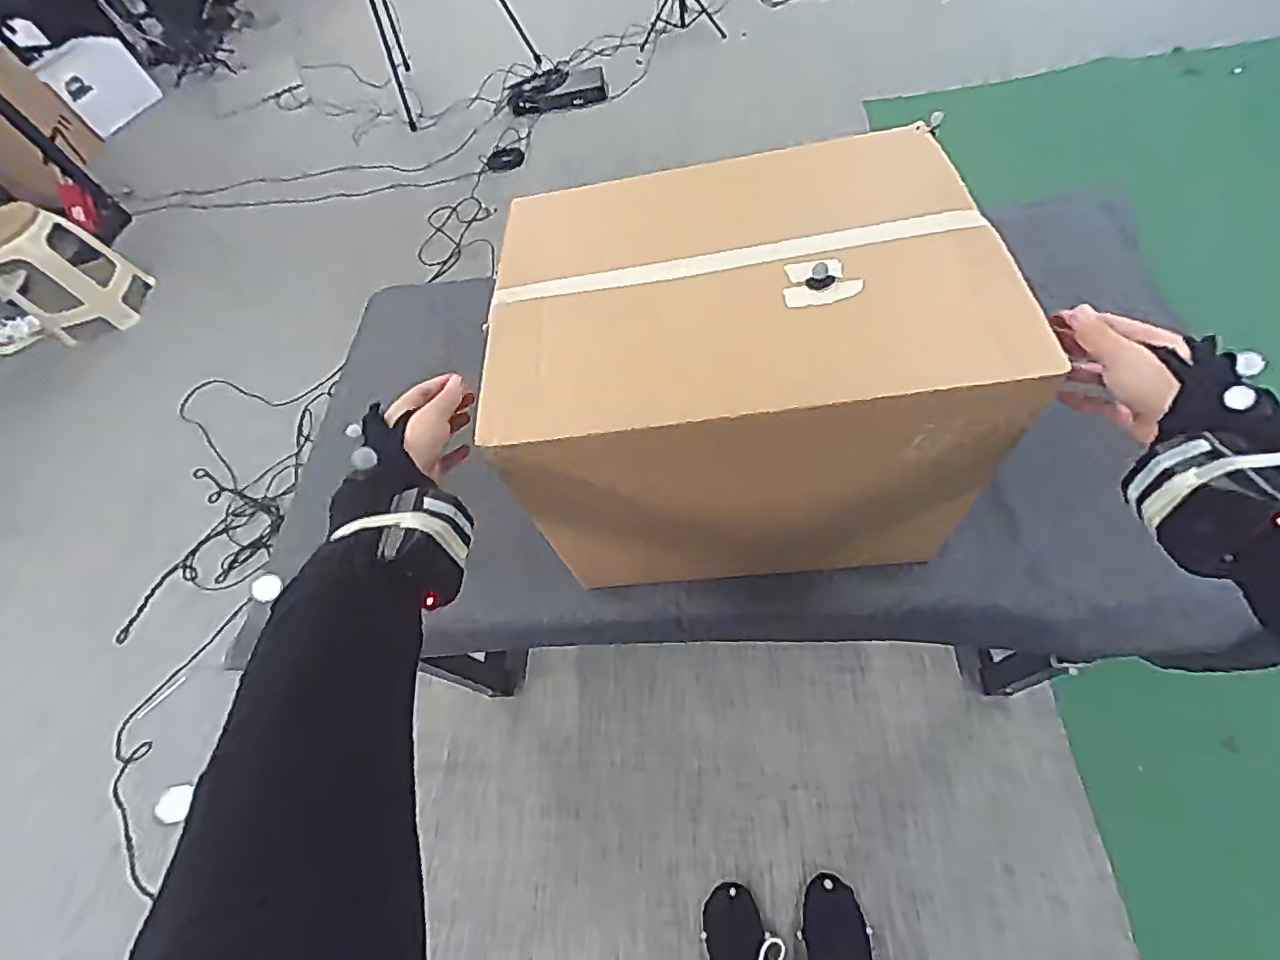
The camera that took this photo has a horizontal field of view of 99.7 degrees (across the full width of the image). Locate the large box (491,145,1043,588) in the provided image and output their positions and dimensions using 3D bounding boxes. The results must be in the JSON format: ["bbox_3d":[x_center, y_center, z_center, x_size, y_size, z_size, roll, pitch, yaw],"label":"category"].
[{"bbox_3d":[0.096,-0.096,0.590,0.408,0.320,0.320,-7,58,7],"label":"large box"}]
